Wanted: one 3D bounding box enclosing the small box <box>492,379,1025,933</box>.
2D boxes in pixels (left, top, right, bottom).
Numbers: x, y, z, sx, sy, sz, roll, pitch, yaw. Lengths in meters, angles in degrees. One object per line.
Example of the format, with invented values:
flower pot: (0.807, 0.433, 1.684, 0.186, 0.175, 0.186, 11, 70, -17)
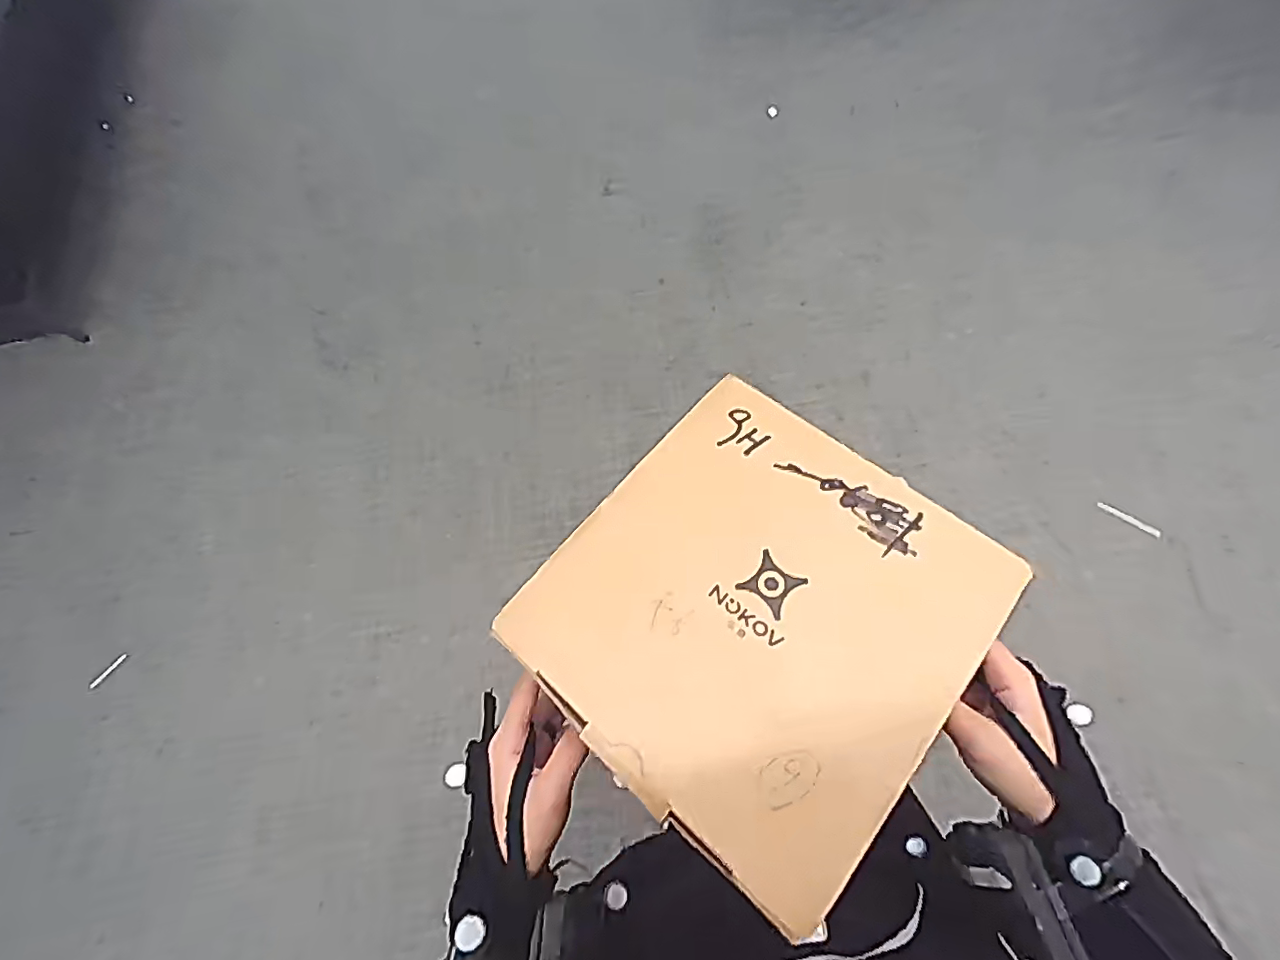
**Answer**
small box: (0.056, 0.086, 0.306, 0.168, 0.176, 0.179, 38, 74, 20)
